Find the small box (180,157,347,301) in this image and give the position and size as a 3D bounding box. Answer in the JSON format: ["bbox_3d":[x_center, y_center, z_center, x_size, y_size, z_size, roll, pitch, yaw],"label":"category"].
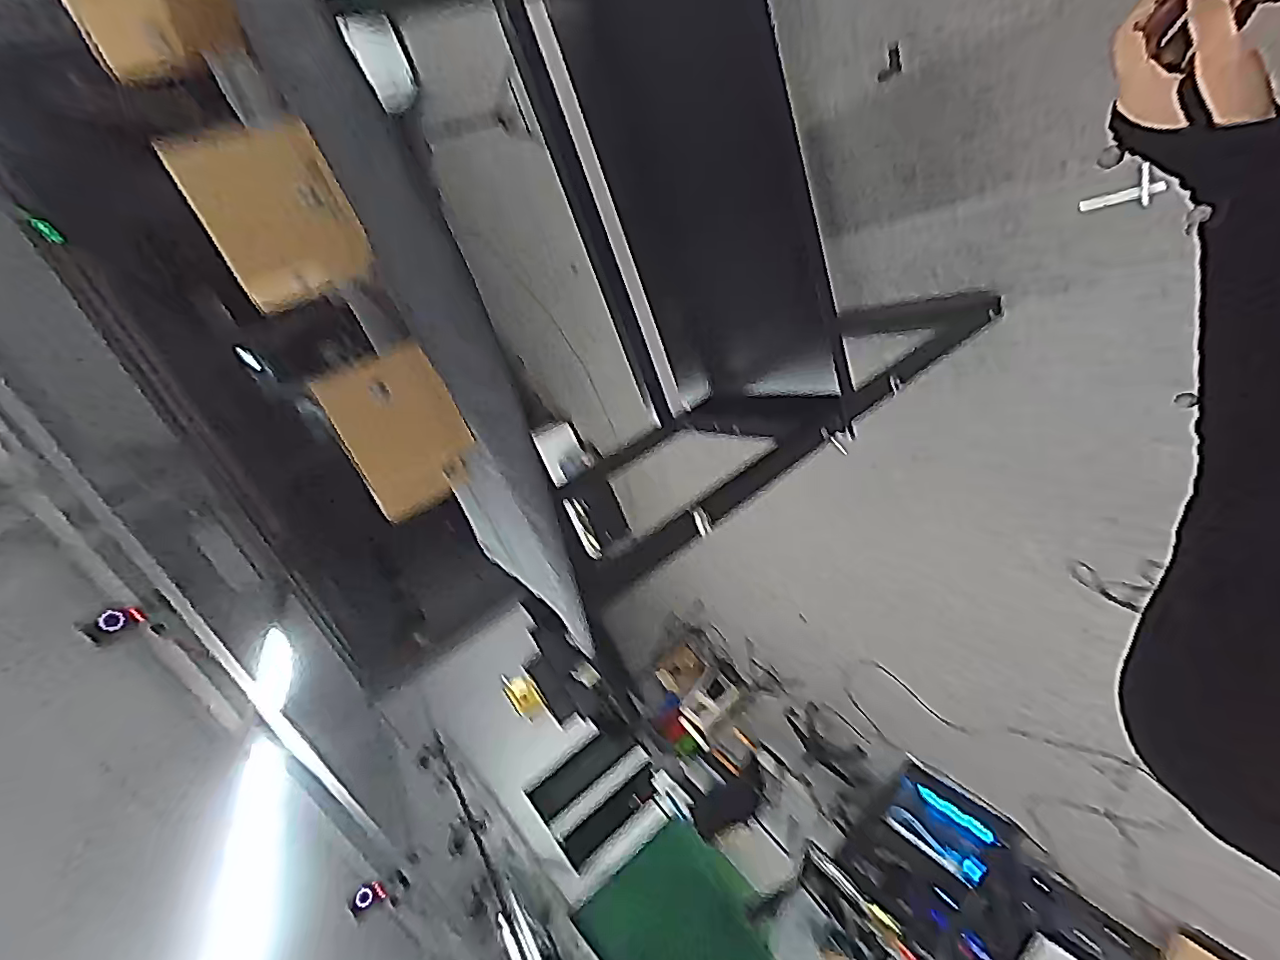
[{"bbox_3d":[-0.630,-0.423,0.929,0.179,0.176,0.168,17,135,57],"label":"small box"}]

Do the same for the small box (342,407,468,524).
[{"bbox_3d":[-0.468,-0.037,1.086,0.179,0.176,0.168,16,133,58],"label":"small box"}]
